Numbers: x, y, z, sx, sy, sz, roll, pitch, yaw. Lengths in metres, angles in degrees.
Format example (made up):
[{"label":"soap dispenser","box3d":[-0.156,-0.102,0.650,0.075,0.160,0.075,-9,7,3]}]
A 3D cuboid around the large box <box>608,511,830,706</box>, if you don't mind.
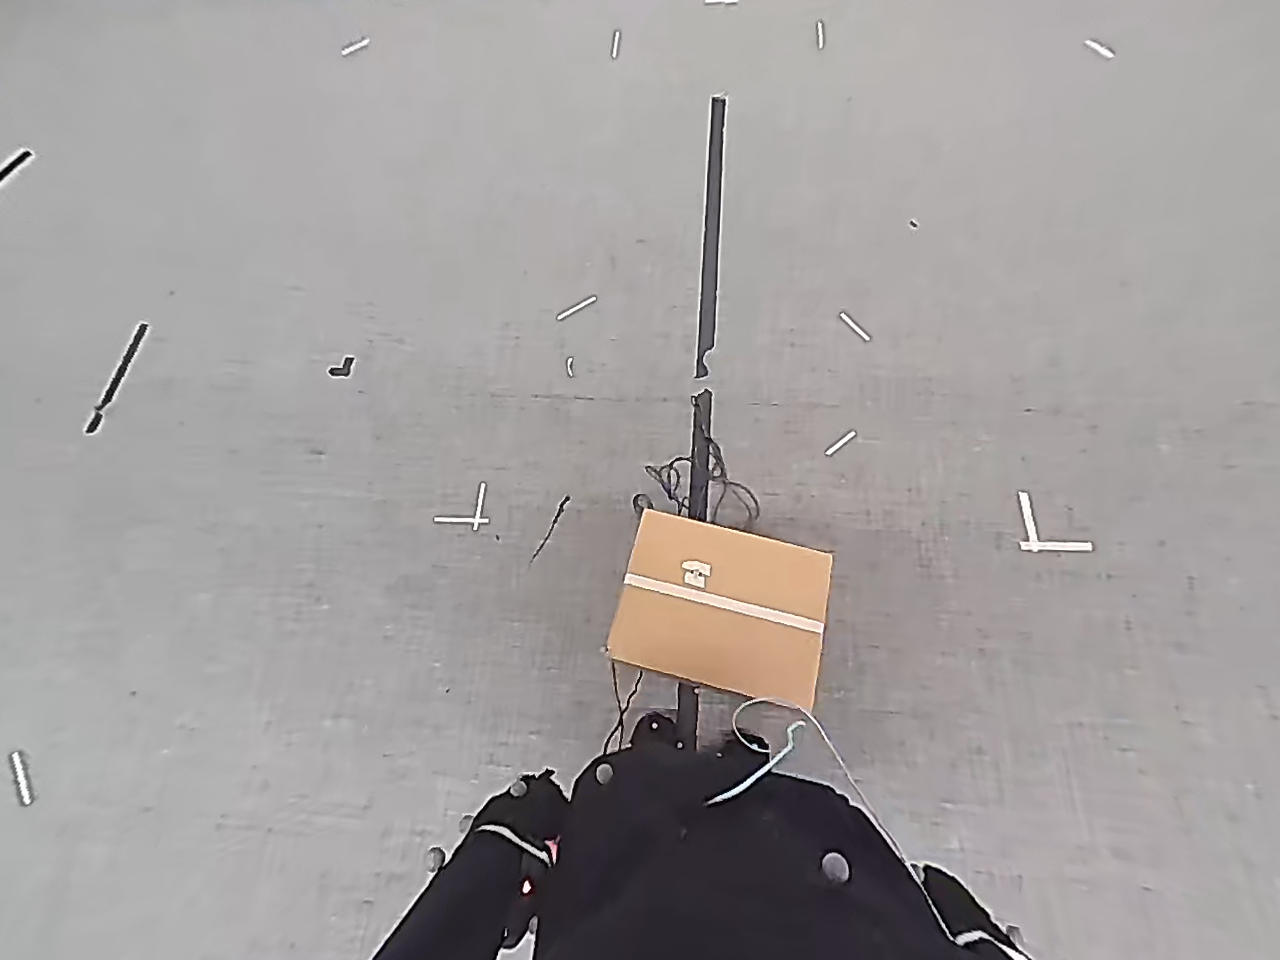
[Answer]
[{"label":"large box","box3d":[0.172,0.299,1.224,0.408,0.320,0.320,14,69,7]}]
